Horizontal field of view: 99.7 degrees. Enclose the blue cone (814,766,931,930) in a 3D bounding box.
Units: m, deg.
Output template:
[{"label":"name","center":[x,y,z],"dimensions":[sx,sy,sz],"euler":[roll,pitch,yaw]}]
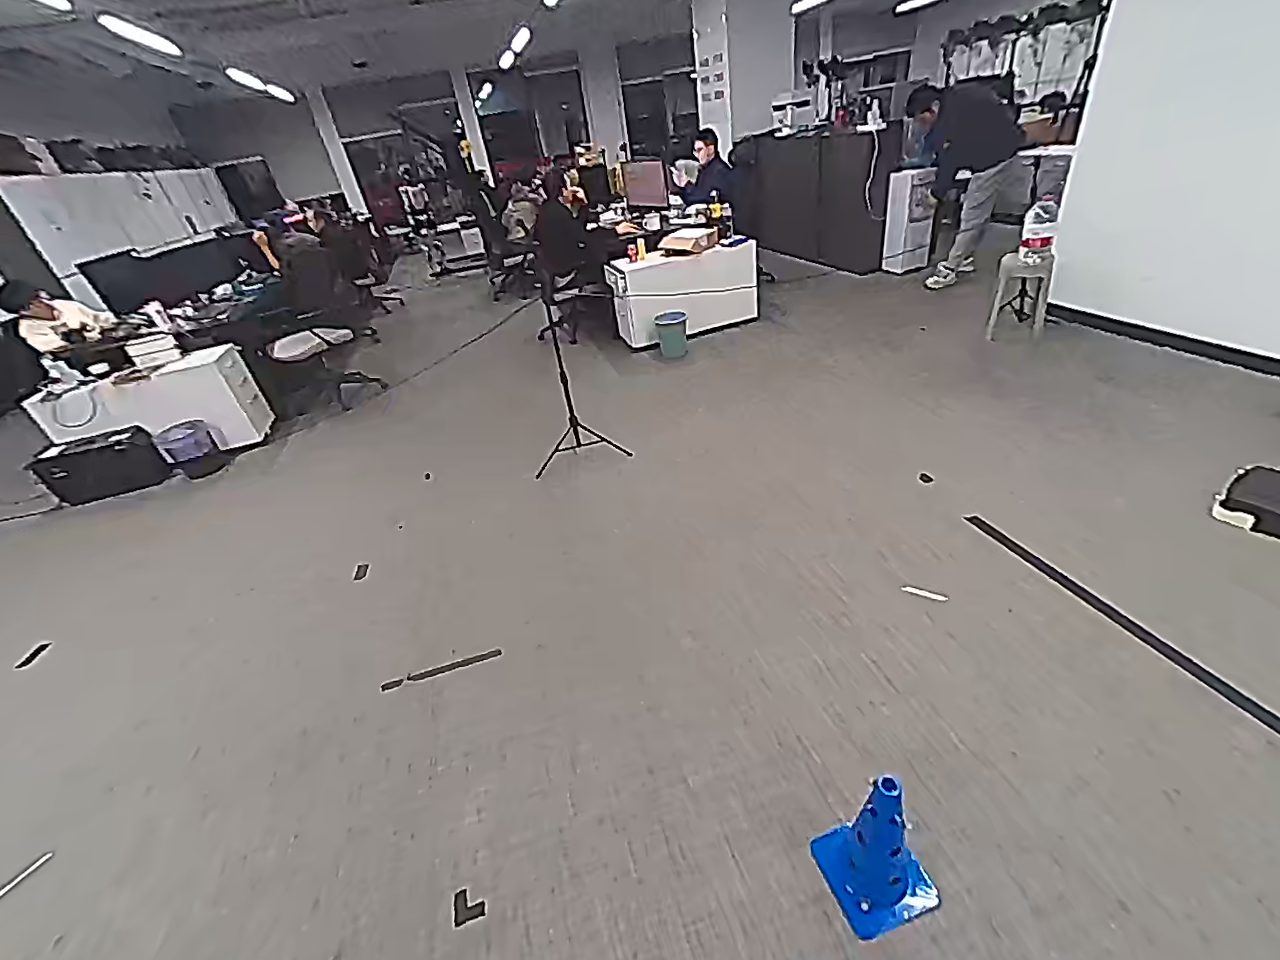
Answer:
[{"label":"blue cone","center":[0.473,0.702,1.079],"dimensions":[0.193,0.380,0.192],"euler":[-16,32,-9]}]
